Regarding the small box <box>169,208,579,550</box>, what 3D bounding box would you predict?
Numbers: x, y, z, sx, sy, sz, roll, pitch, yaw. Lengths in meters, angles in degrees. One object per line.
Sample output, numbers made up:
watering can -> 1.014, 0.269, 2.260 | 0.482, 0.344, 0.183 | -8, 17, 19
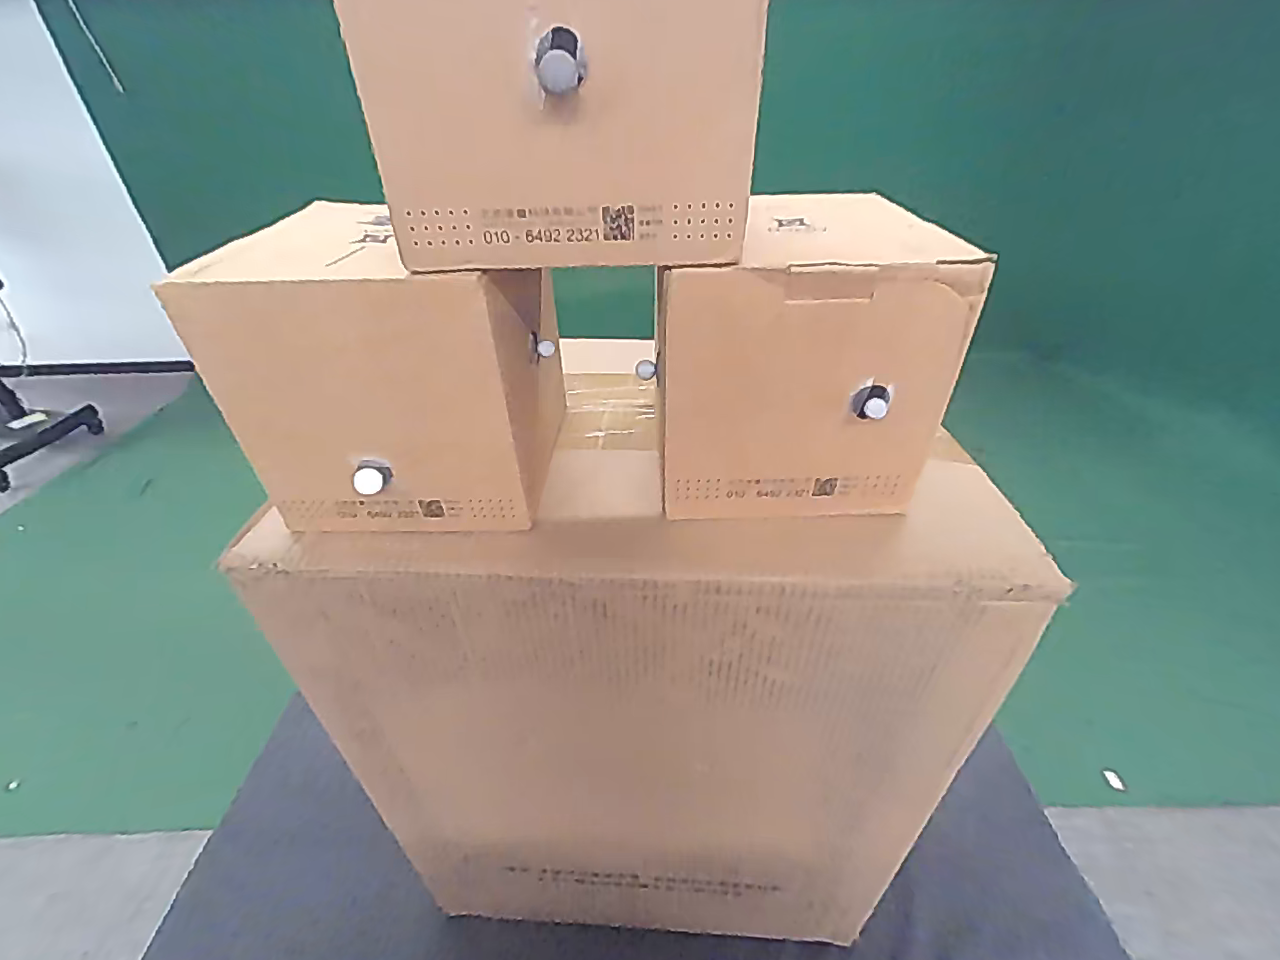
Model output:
small box -> -0.138, -0.075, 0.366 | 0.168, 0.176, 0.179 | 1, 38, 4

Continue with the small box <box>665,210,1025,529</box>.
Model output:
small box -> 0.107, -0.079, 0.377 | 0.168, 0.176, 0.179 | 0, 37, -3
